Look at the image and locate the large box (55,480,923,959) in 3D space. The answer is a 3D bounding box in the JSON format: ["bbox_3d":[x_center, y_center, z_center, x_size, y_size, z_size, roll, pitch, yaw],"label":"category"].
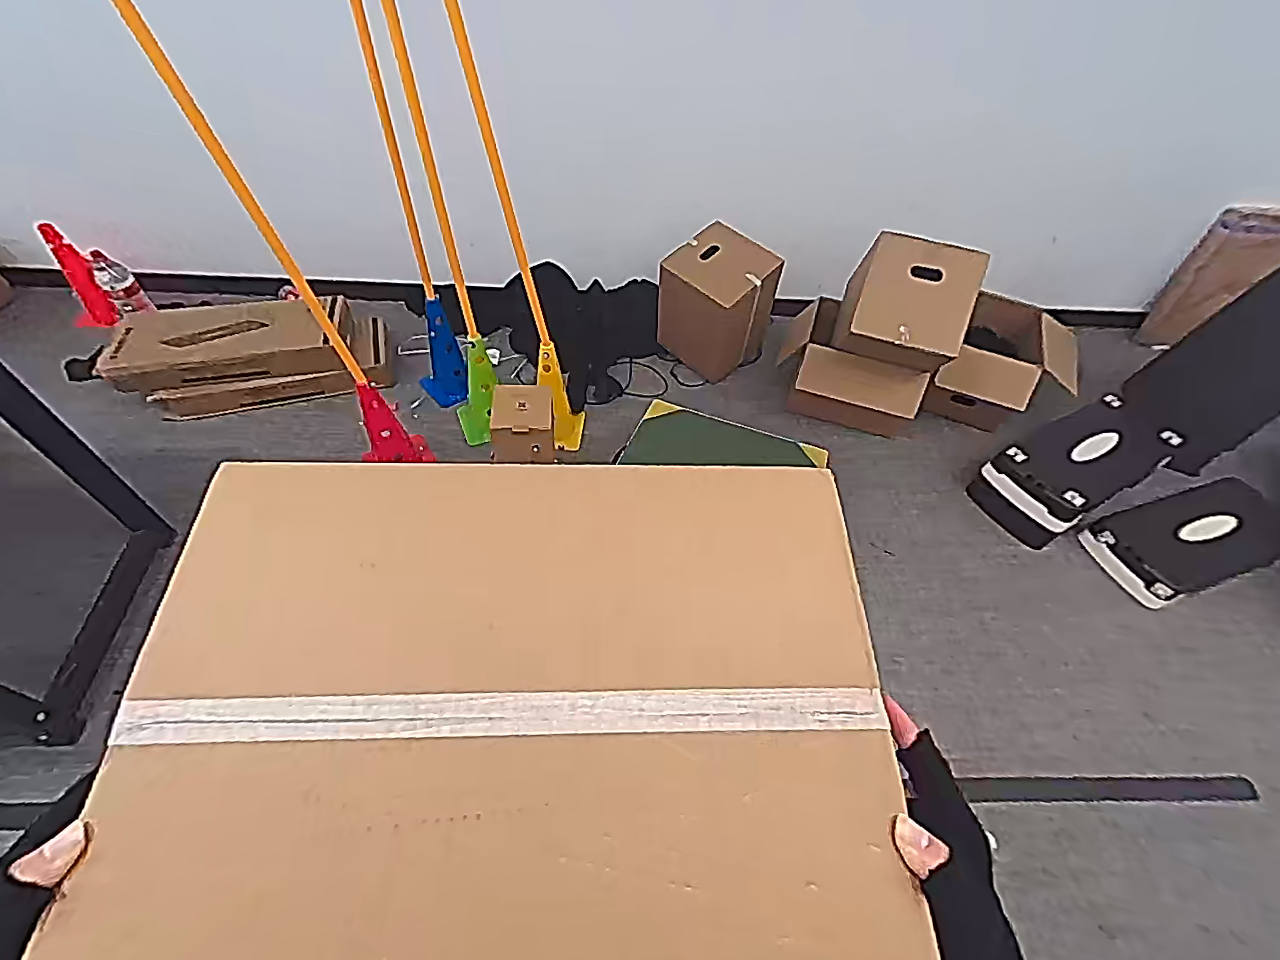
[{"bbox_3d":[-0.074,0.207,0.429,0.408,0.320,0.320,1,62,-3],"label":"large box"}]
